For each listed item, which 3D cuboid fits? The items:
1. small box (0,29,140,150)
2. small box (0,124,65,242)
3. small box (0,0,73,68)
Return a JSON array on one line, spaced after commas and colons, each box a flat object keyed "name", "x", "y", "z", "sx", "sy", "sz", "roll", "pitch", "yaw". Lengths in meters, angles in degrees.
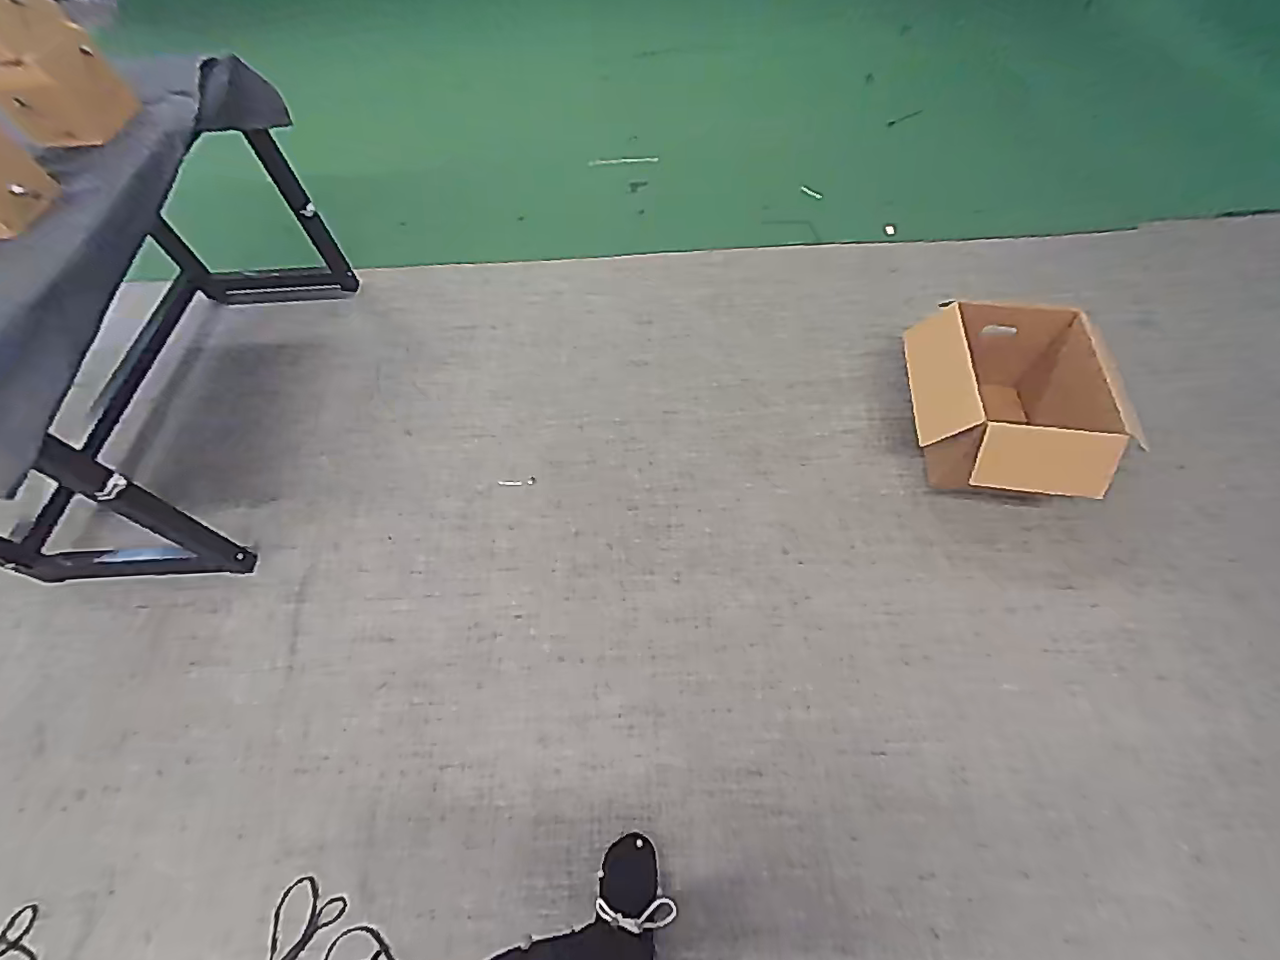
[{"name": "small box", "x": -1.286, "y": -0.860, "z": 1.203, "sx": 0.168, "sy": 0.176, "sz": 0.179, "roll": -1, "pitch": 59, "yaw": 3}, {"name": "small box", "x": -1.290, "y": -0.572, "z": 1.027, "sx": 0.179, "sy": 0.176, "sz": 0.168, "roll": -2, "pitch": 59, "yaw": 1}, {"name": "small box", "x": -1.309, "y": -0.942, "z": 1.058, "sx": 0.168, "sy": 0.176, "sz": 0.179, "roll": 2, "pitch": 59, "yaw": 5}]
